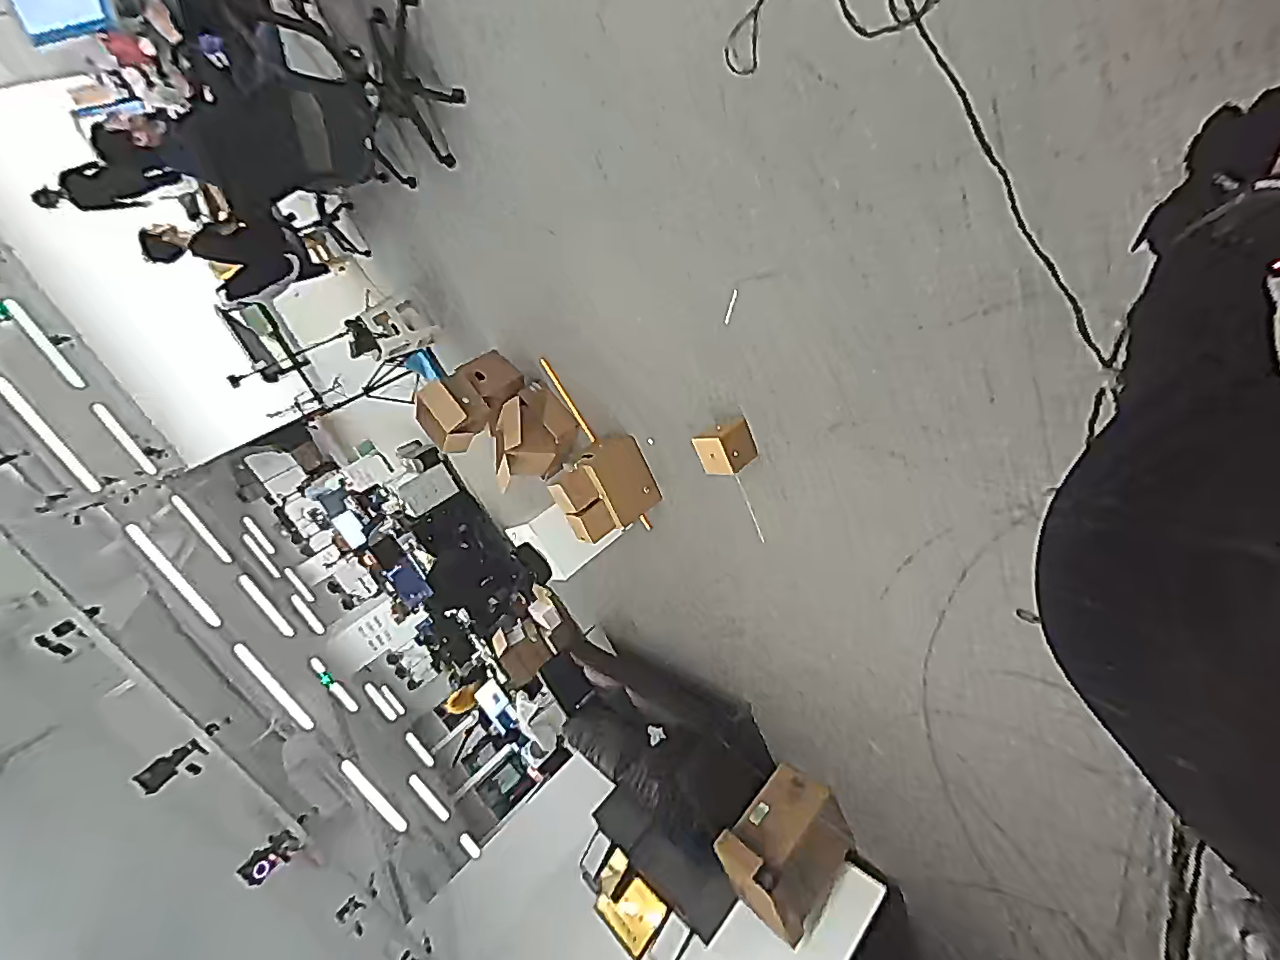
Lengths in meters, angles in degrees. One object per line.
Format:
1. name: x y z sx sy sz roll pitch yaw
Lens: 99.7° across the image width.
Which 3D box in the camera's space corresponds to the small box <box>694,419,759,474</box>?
1. small box: 0.359 -0.144 2.230 0.168 0.176 0.179 3 126 54
